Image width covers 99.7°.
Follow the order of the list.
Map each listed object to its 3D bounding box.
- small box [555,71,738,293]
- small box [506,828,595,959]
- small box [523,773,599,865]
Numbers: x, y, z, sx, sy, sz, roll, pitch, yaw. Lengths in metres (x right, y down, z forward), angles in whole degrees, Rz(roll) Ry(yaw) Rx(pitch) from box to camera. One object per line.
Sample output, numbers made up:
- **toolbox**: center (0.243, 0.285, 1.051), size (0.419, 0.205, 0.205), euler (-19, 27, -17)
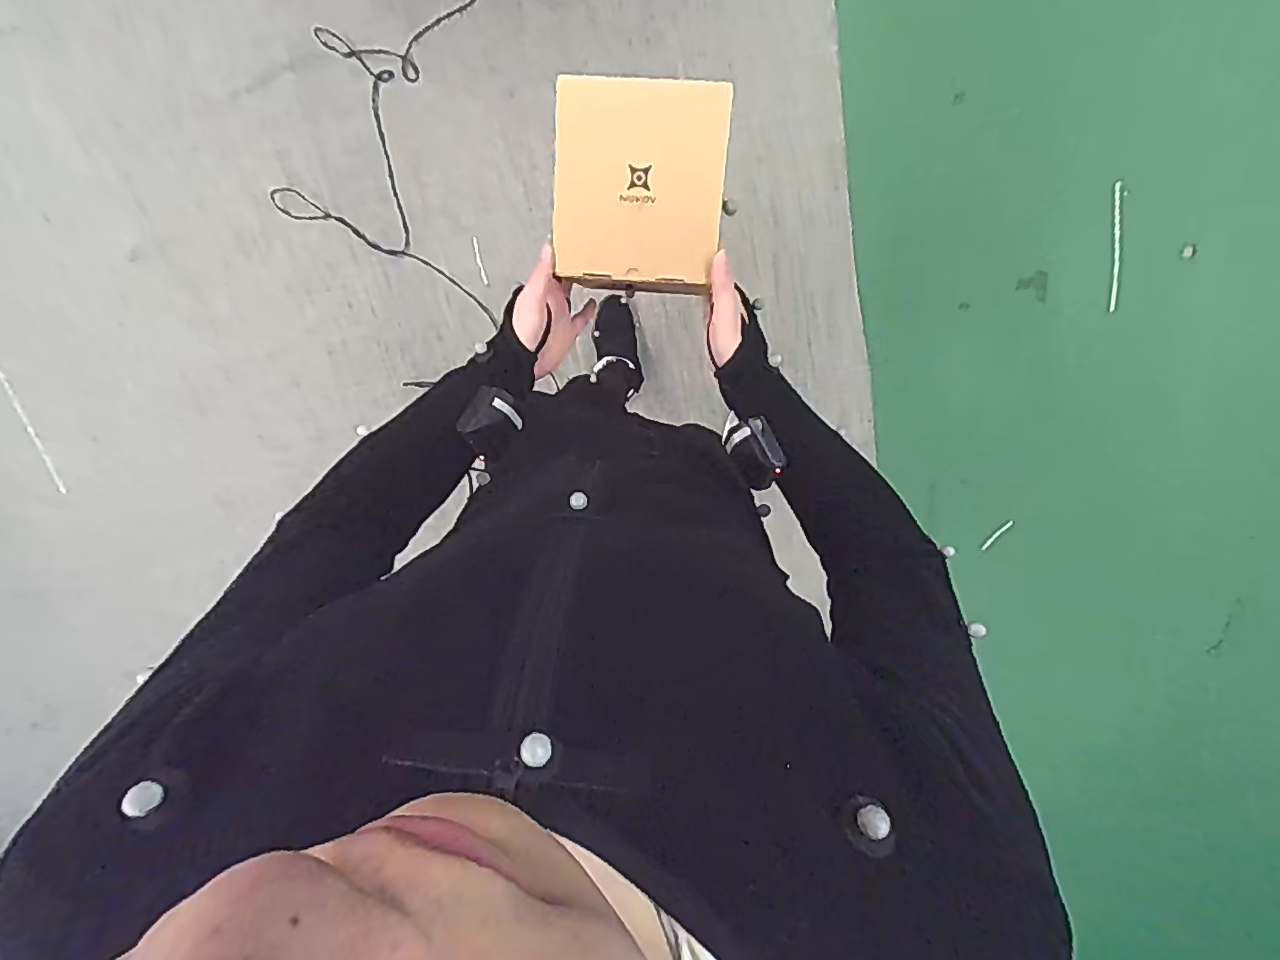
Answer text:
- **small box**: center (0.006, -0.304, 0.588), size (0.168, 0.176, 0.179), euler (4, 107, 2)
- **small box**: center (-0.194, 0.930, 1.220), size (0.168, 0.176, 0.179), euler (-1, 106, 1)
- **small box**: center (-0.195, 0.885, 1.377), size (0.168, 0.176, 0.179), euler (0, 106, 1)
